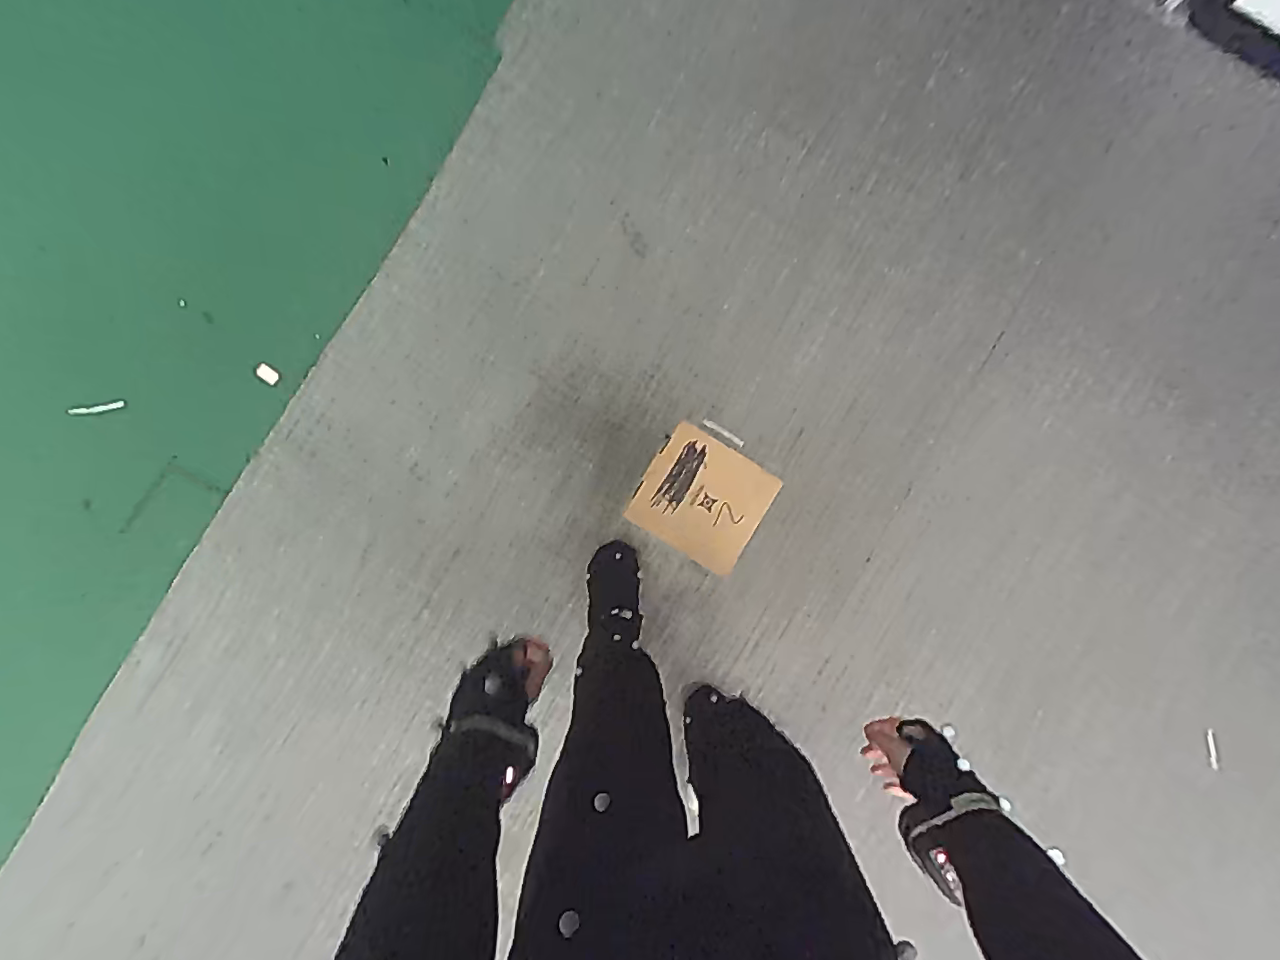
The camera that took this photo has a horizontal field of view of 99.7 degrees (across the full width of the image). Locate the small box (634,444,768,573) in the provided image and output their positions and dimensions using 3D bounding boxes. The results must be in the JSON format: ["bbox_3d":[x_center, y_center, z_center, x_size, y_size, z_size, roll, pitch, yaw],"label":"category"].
[{"bbox_3d":[0.103,0.047,1.002,0.179,0.176,0.168,30,89,-1],"label":"small box"}]

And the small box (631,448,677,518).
[{"bbox_3d":[0.094,0.043,1.168,0.179,0.176,0.168,30,89,-1],"label":"small box"}]
